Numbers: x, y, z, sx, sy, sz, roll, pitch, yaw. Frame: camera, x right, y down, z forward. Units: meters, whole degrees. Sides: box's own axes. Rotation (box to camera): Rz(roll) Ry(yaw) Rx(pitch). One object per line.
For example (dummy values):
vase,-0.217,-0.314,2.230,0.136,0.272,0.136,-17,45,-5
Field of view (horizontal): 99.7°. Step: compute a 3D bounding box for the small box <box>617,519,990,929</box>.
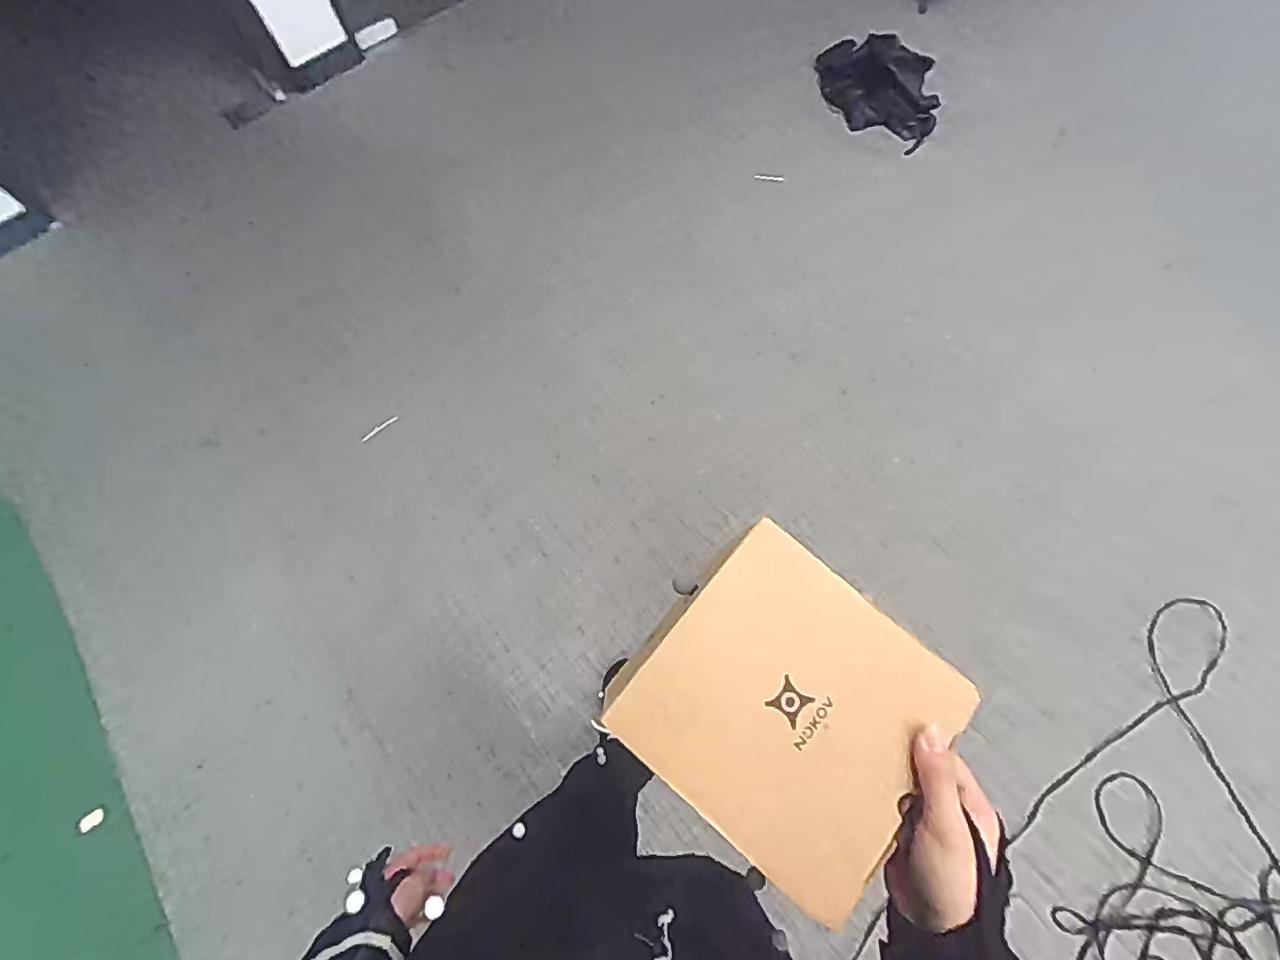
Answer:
small box,0.096,0.159,0.404,0.179,0.176,0.168,40,75,8
